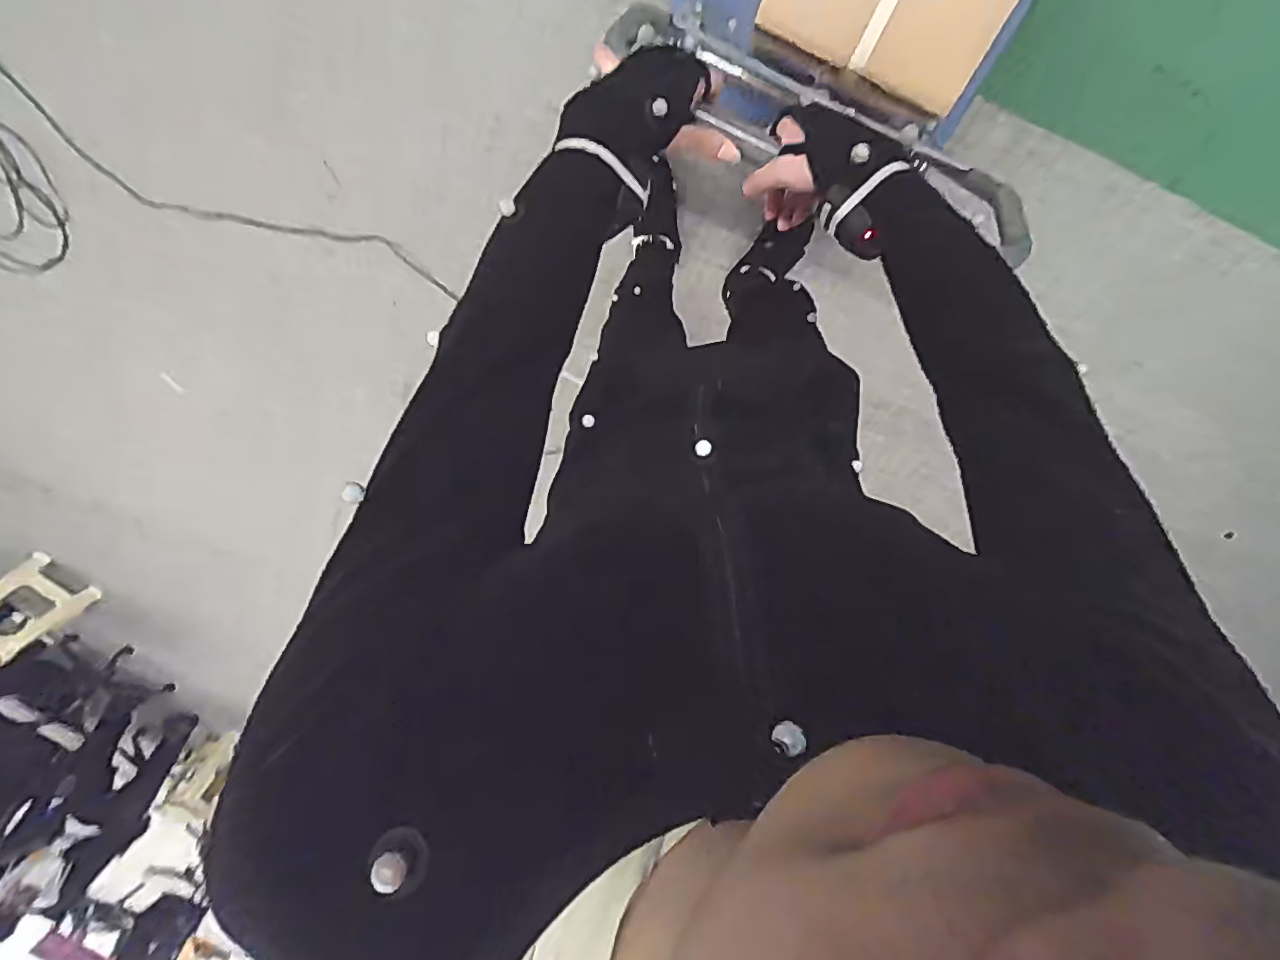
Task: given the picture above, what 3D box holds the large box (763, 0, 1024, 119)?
[{"bbox_3d":[0.403,-0.804,0.778,0.320,0.320,0.408,23,125,-5],"label":"large box"}]
